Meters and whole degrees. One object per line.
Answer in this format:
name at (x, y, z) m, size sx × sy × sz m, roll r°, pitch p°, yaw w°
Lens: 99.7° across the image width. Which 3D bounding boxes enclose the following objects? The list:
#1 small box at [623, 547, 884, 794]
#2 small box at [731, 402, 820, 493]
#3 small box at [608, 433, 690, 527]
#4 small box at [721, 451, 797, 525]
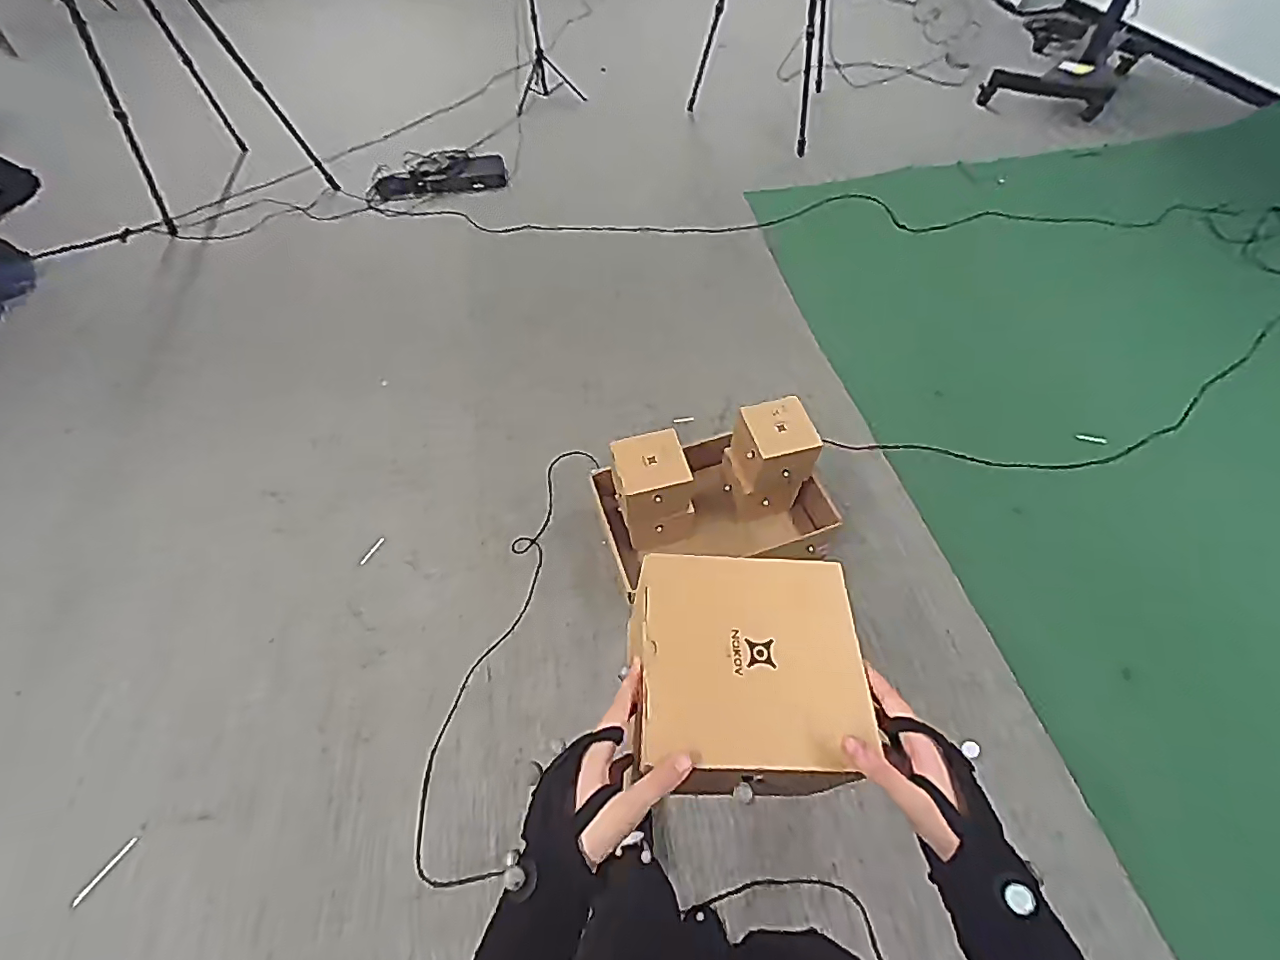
small box at (0.081, 0.177, 0.484) m, size 0.179 × 0.176 × 0.168 m, roll 4°, pitch 54°, yaw -3°
small box at (0.358, -0.080, 1.458) m, size 0.168 × 0.176 × 0.179 m, roll -12°, pitch 57°, yaw -8°
small box at (0.022, 0.006, 1.408) m, size 0.179 × 0.176 × 0.168 m, roll -12°, pitch 58°, yaw -8°
small box at (0.345, 0.013, 1.595) m, size 0.179 × 0.176 × 0.168 m, roll -13°, pitch 57°, yaw -7°
